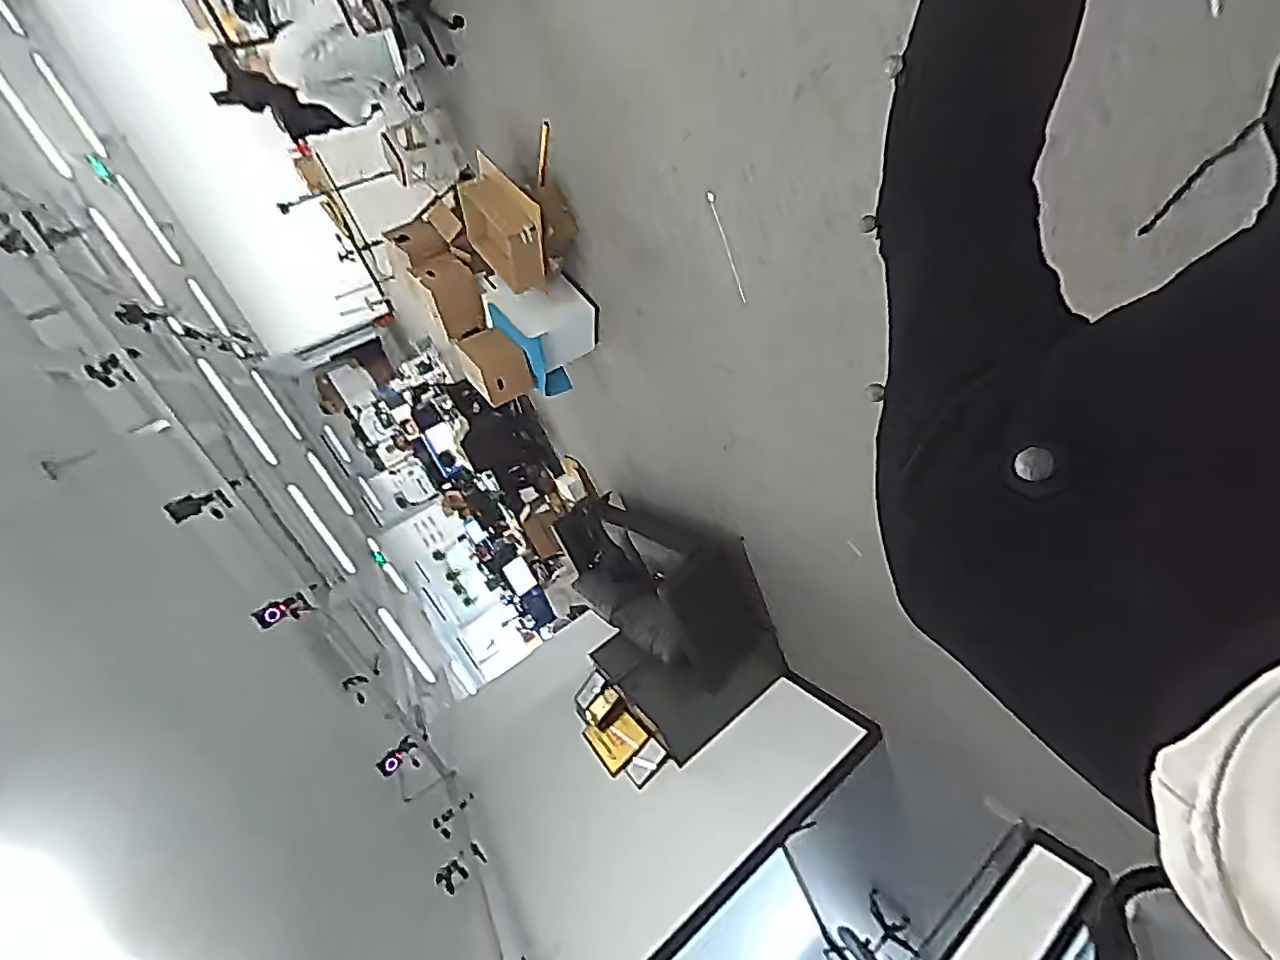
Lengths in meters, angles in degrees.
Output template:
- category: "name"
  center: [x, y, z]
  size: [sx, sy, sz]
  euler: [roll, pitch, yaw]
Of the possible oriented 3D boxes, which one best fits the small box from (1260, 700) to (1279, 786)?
- category: "small box"
  center: [1.402, 0.540, 1.082]
  size: [0.179, 0.176, 0.168]
  euler: [18, 136, 59]
